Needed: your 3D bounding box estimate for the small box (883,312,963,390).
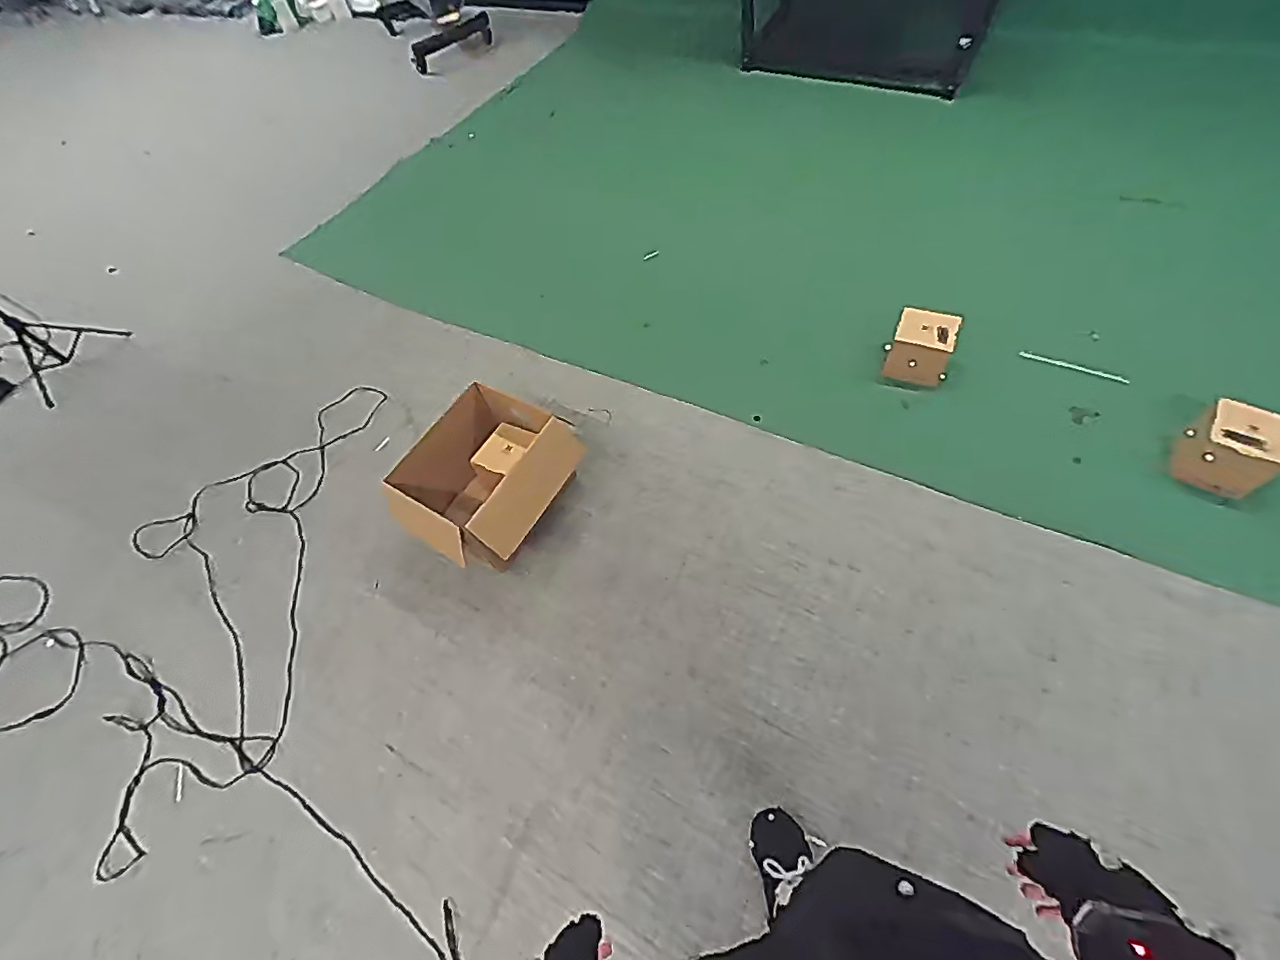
[{"bbox_3d":[0.932,-0.422,1.789,0.179,0.176,0.168,20,62,20],"label":"small box"}]
